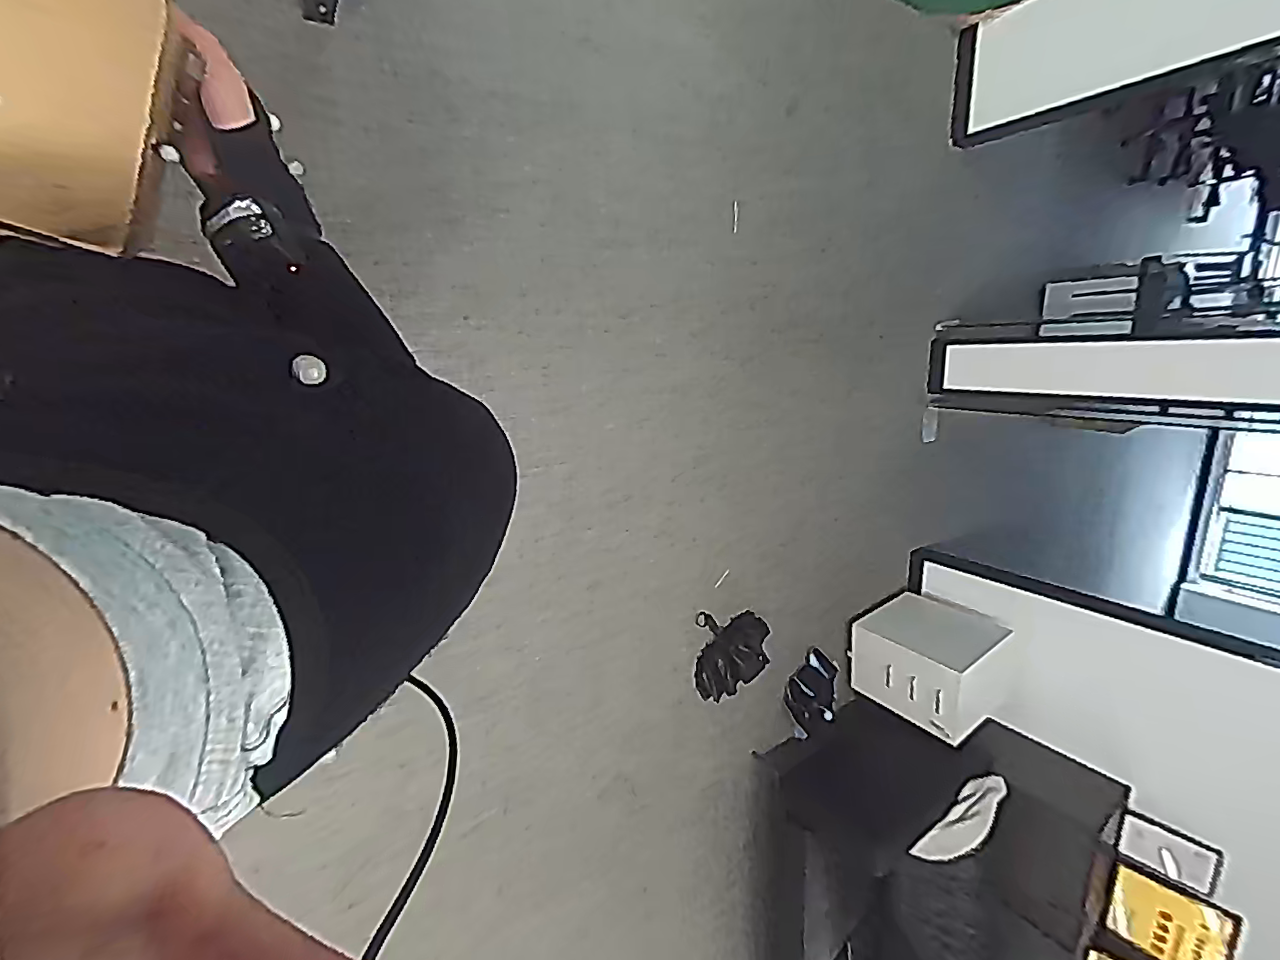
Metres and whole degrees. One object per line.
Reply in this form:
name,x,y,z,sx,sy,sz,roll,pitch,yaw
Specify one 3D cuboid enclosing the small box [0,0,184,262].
small box,-0.437,-0.276,0.374,0.168,0.176,0.179,10,107,-41
